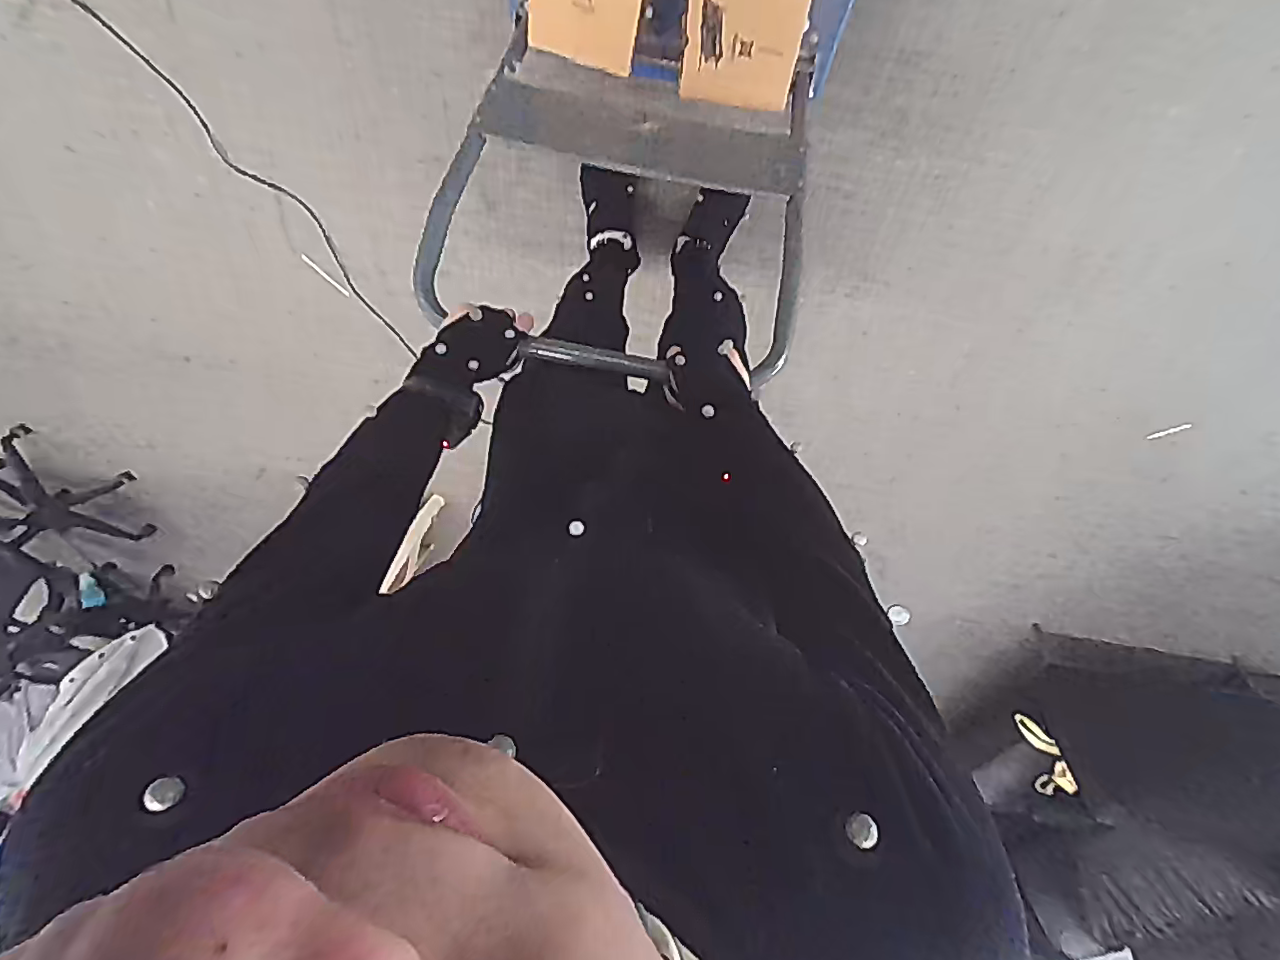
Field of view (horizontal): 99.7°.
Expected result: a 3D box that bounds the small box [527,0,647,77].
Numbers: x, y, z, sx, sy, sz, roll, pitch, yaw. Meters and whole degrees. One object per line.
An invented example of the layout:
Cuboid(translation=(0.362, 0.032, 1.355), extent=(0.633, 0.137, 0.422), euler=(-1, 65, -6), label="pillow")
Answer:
Cuboid(translation=(-0.068, -0.773, 0.822), extent=(0.168, 0.176, 0.179), euler=(14, 152, -7), label="small box")
